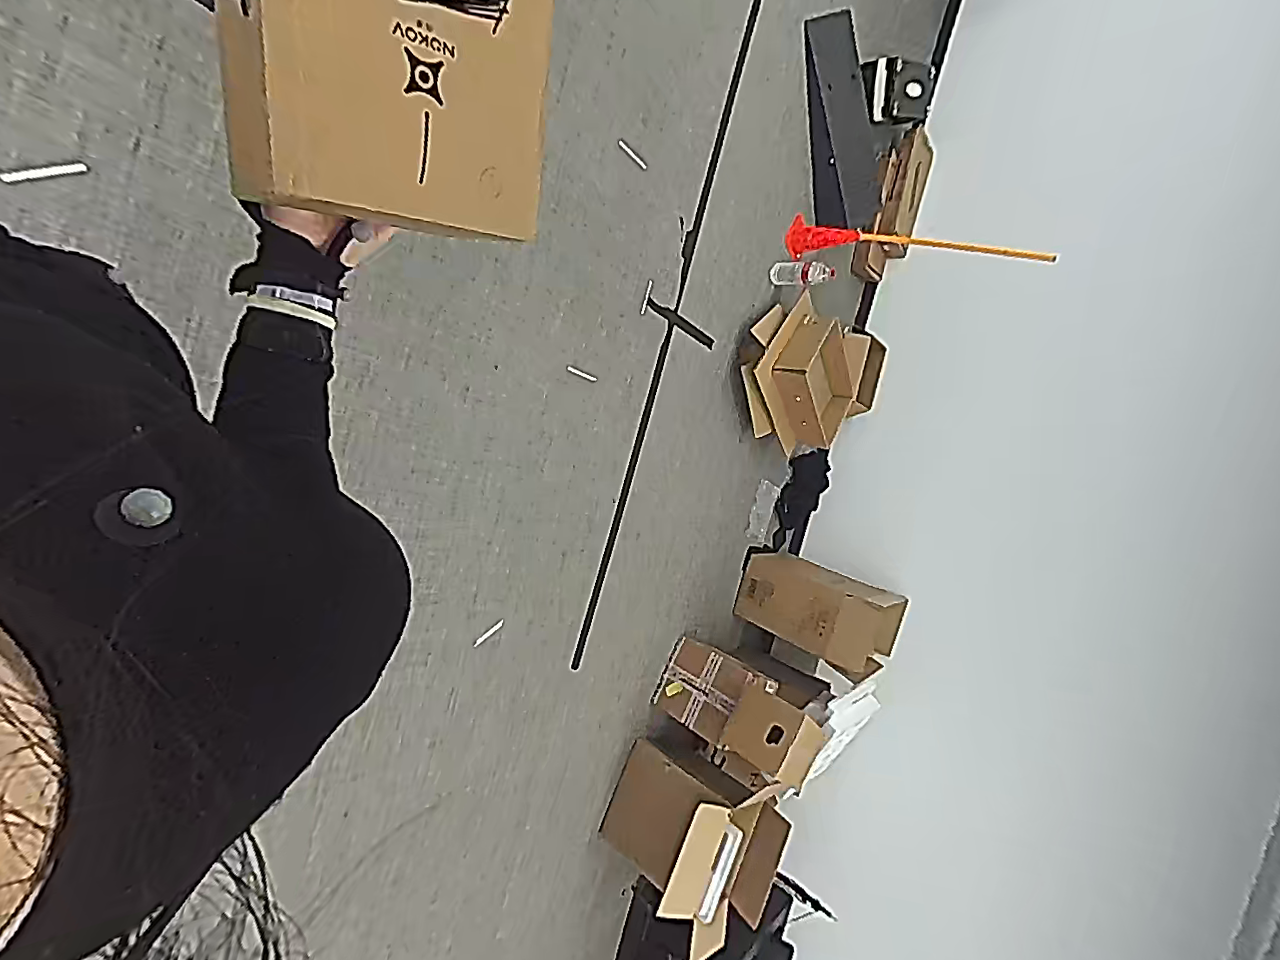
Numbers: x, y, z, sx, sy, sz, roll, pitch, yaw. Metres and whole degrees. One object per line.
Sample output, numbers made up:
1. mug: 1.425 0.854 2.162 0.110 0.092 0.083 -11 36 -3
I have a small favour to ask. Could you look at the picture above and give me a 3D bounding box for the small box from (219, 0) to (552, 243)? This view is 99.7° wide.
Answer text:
1. small box: -0.181 -0.277 0.381 0.168 0.176 0.179 -9 116 -41
